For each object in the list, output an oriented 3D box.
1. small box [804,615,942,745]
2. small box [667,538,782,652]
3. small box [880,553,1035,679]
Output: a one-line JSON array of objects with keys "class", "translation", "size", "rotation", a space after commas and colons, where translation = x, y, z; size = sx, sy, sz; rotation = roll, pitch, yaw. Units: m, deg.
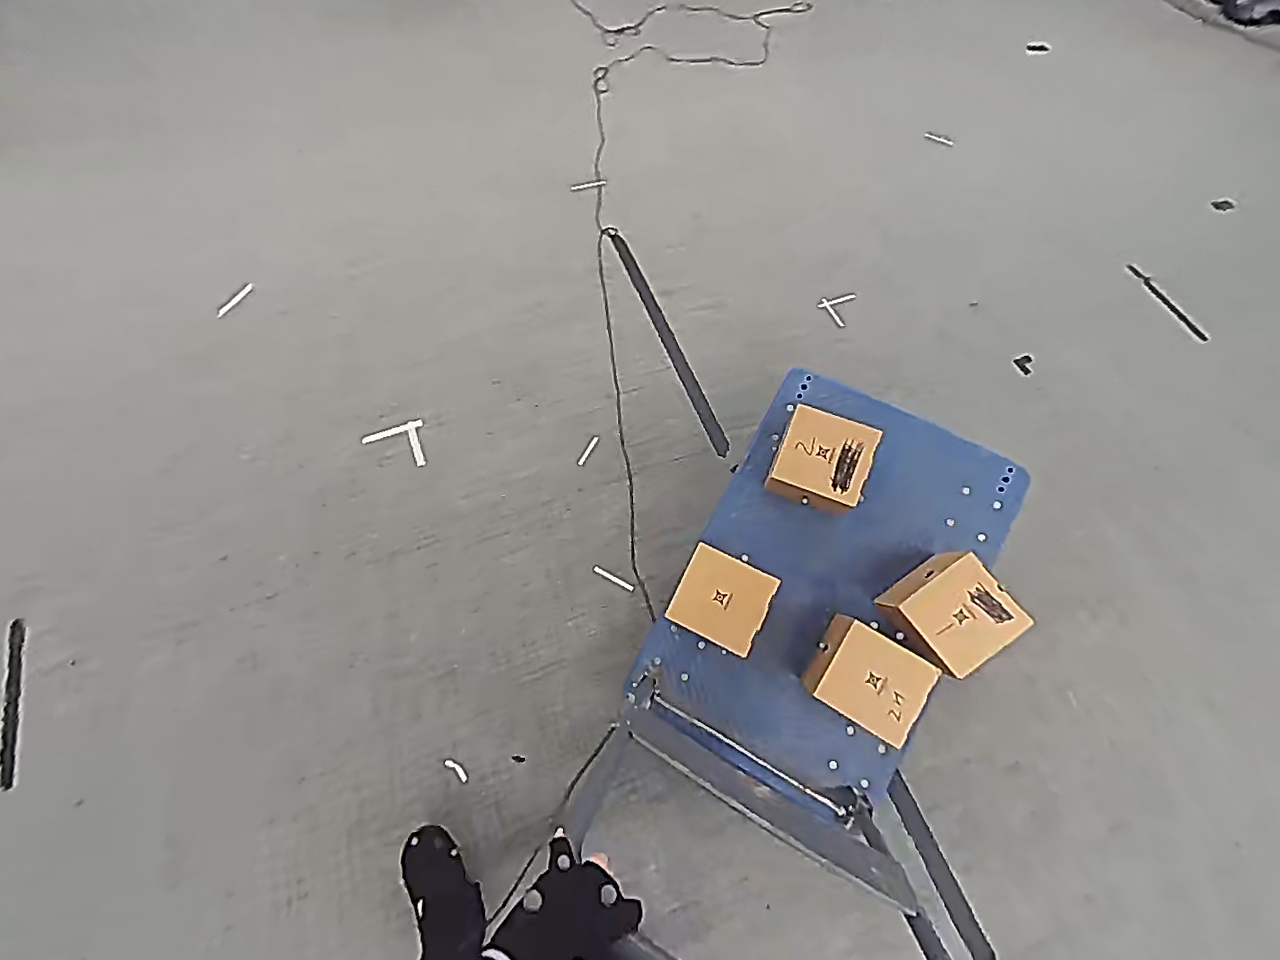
[{"class": "small box", "translation": [0.446, 0.382, 1.071], "size": [0.179, 0.176, 0.168], "rotation": [31, 86, 12]}, {"class": "small box", "translation": [0.172, 0.237, 1.134], "size": [0.179, 0.176, 0.168], "rotation": [26, 85, 10]}, {"class": "small box", "translation": [0.612, 0.260, 1.070], "size": [0.179, 0.176, 0.168], "rotation": [-37, 77, 2]}]
